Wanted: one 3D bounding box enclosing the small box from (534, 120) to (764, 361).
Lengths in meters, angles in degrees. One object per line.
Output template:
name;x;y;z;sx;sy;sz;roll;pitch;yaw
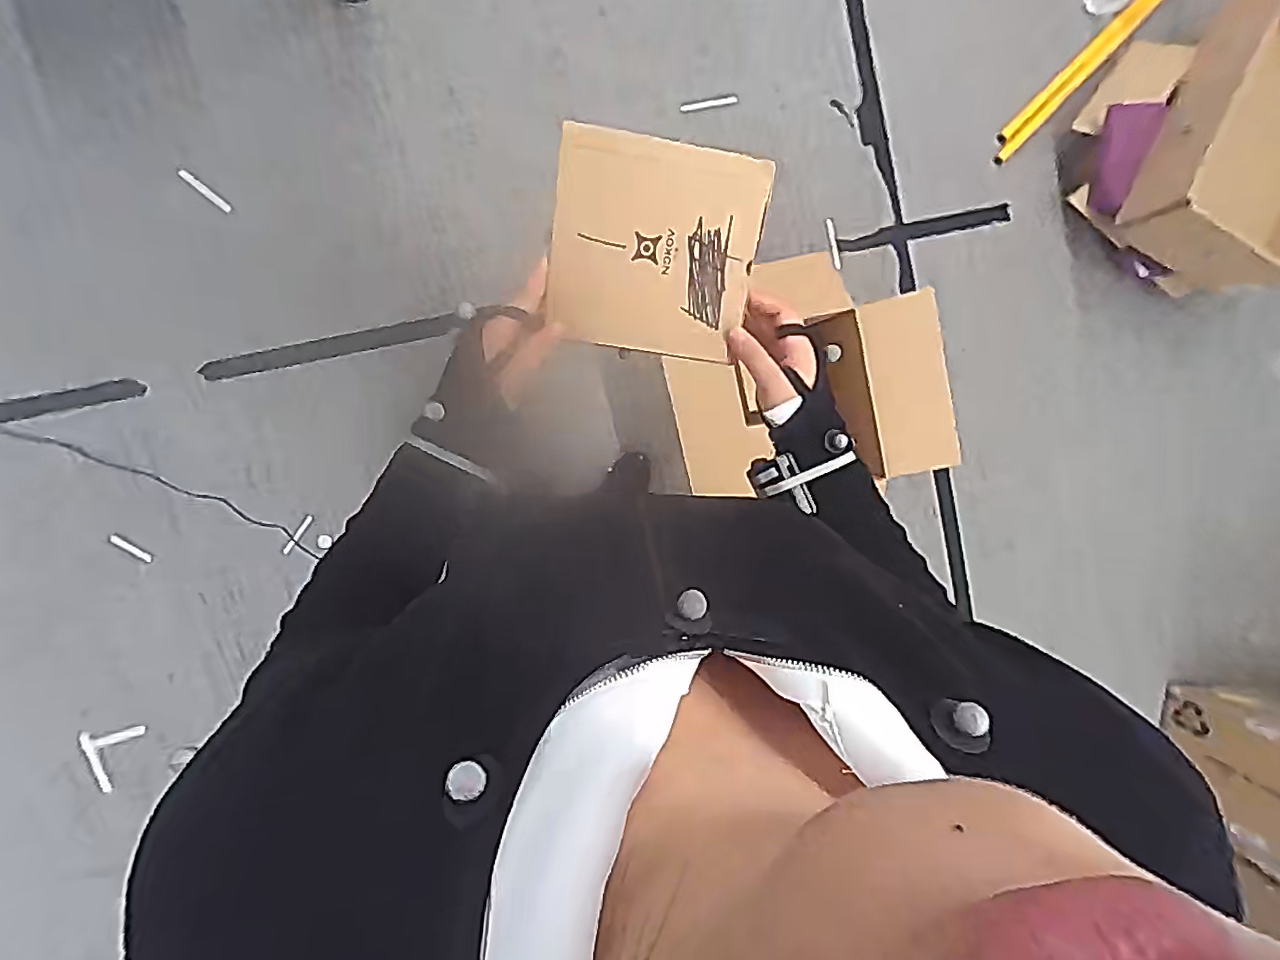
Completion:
small box;-0.003;-0.220;0.527;0.179;0.176;0.168;6;109;-7
